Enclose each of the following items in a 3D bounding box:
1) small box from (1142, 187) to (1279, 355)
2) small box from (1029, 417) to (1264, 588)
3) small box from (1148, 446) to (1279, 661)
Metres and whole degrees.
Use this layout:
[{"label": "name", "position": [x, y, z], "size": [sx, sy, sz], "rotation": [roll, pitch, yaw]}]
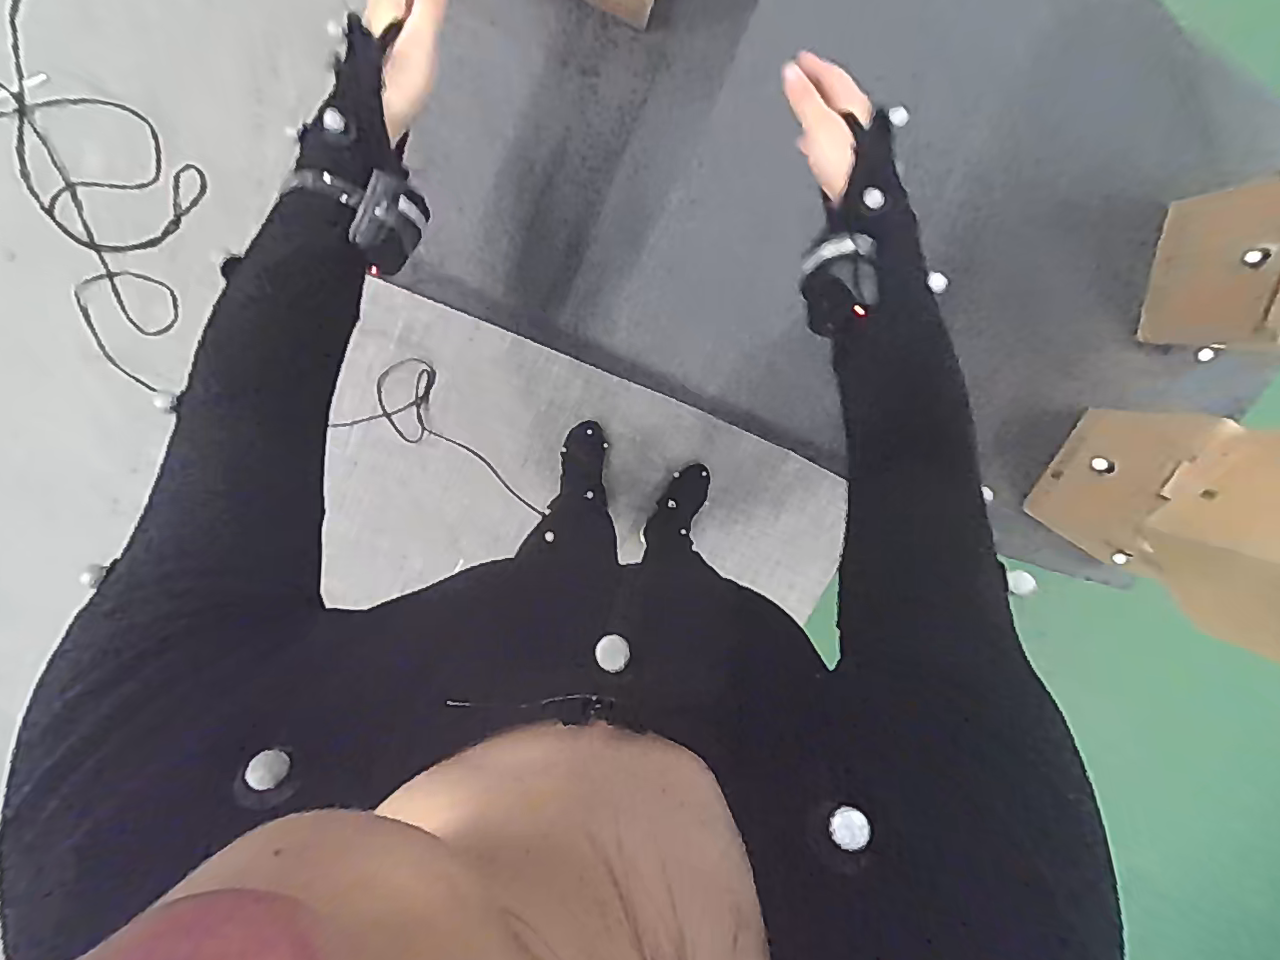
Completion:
[{"label": "small box", "position": [0.751, -0.239, 0.629], "size": [0.168, 0.176, 0.179], "rotation": [3, 106, -3]}, {"label": "small box", "position": [0.654, 0.031, 0.684], "size": [0.179, 0.176, 0.168], "rotation": [29, 97, -10]}, {"label": "small box", "position": [0.667, 0.080, 0.528], "size": [0.168, 0.176, 0.179], "rotation": [-39, 103, 2]}]
